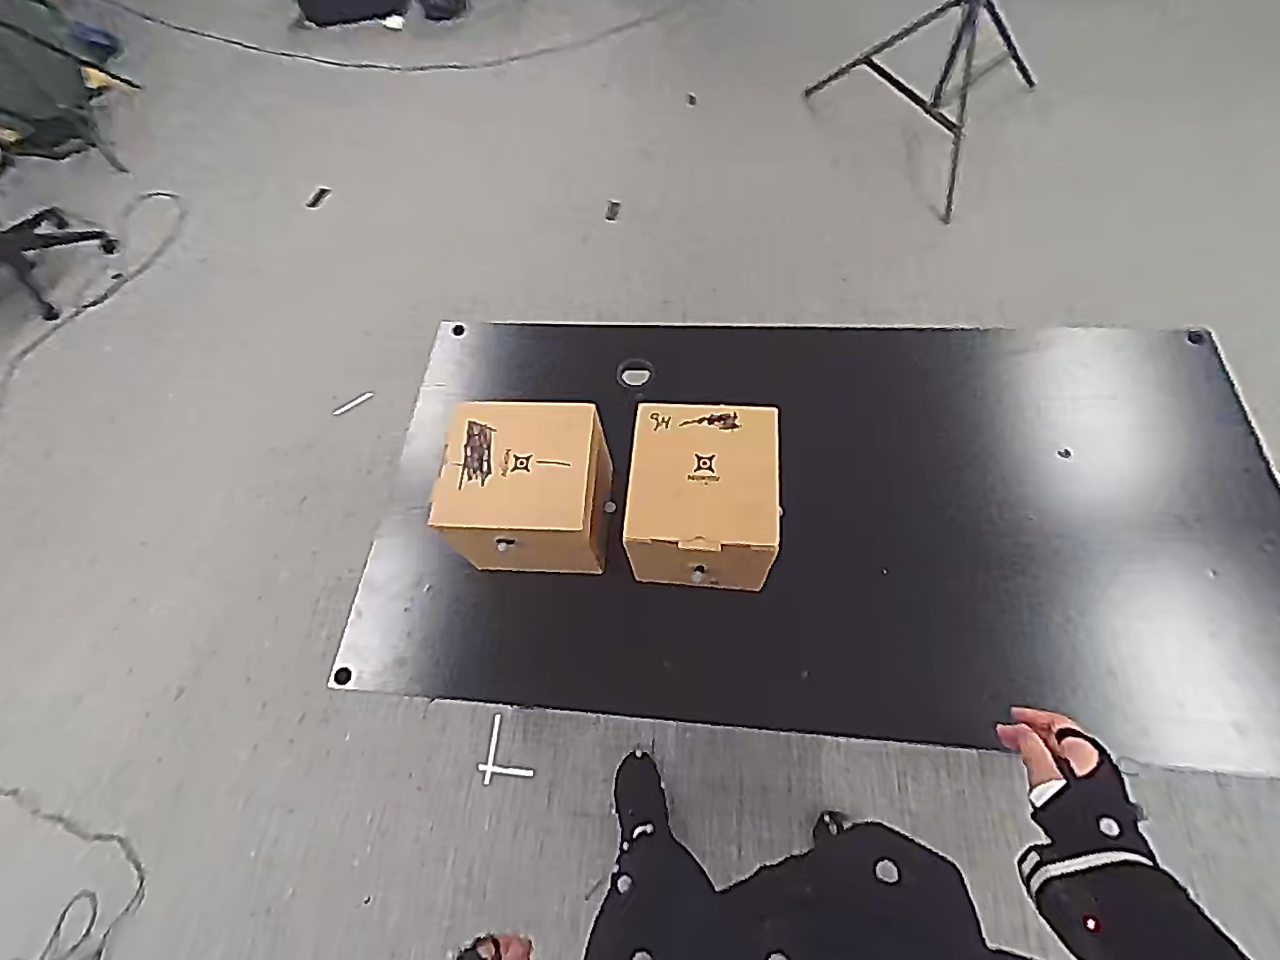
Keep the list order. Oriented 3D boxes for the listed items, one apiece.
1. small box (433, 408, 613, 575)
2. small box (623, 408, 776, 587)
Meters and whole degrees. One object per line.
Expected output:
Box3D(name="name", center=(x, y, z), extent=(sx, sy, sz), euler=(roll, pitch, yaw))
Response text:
Box3D(name="small box", center=(-0.137, 0.021, 0.706), extent=(0.179, 0.176, 0.168), euler=(1, 64, 5))
Box3D(name="small box", center=(0.077, 0.029, 0.681), extent=(0.168, 0.176, 0.179), euler=(4, 65, 6))
